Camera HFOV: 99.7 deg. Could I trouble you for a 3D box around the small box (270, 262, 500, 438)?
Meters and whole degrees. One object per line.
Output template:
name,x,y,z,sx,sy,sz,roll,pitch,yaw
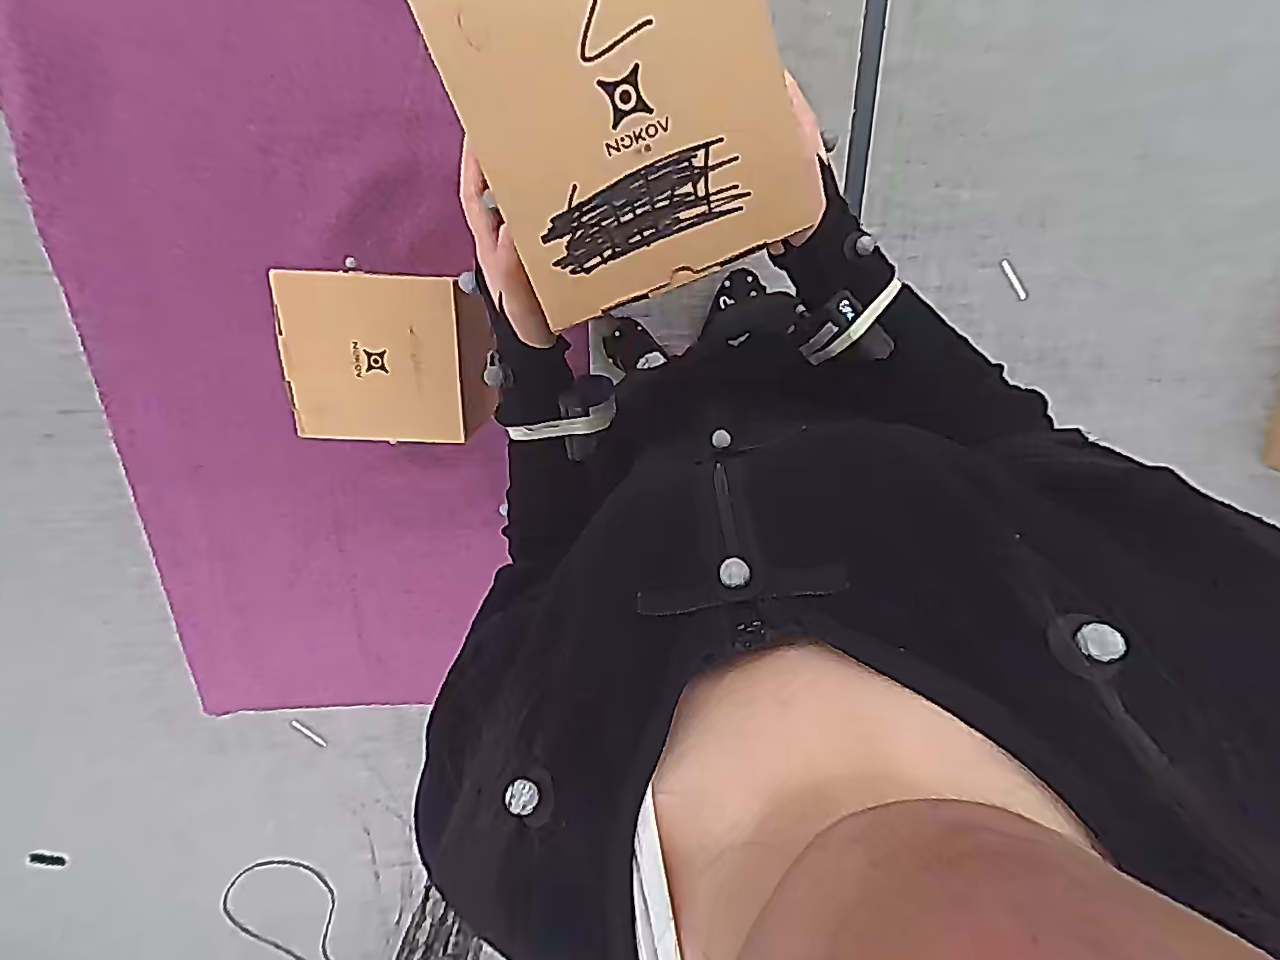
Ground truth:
small box,-0.266,-0.150,0.609,0.179,0.176,0.168,1,110,-3
